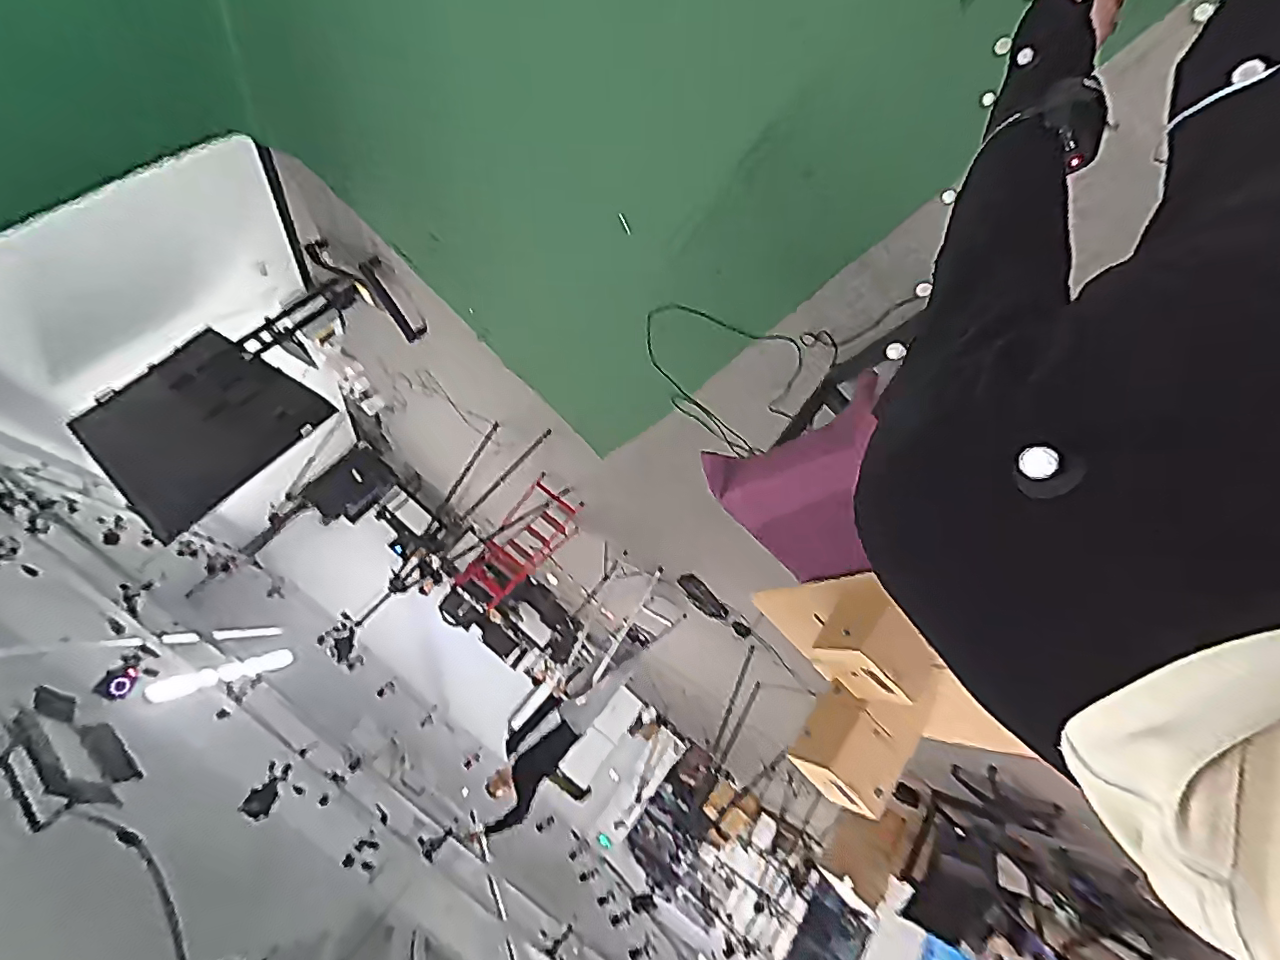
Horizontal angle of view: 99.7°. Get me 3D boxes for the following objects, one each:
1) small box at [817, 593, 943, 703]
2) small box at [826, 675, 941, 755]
[{"bbox_3d":[0.542,0.368,1.208,0.168,0.176,0.179,45,155,-3],"label":"small box"},{"bbox_3d":[0.624,0.561,1.382,0.168,0.176,0.179,46,154,-4],"label":"small box"}]
